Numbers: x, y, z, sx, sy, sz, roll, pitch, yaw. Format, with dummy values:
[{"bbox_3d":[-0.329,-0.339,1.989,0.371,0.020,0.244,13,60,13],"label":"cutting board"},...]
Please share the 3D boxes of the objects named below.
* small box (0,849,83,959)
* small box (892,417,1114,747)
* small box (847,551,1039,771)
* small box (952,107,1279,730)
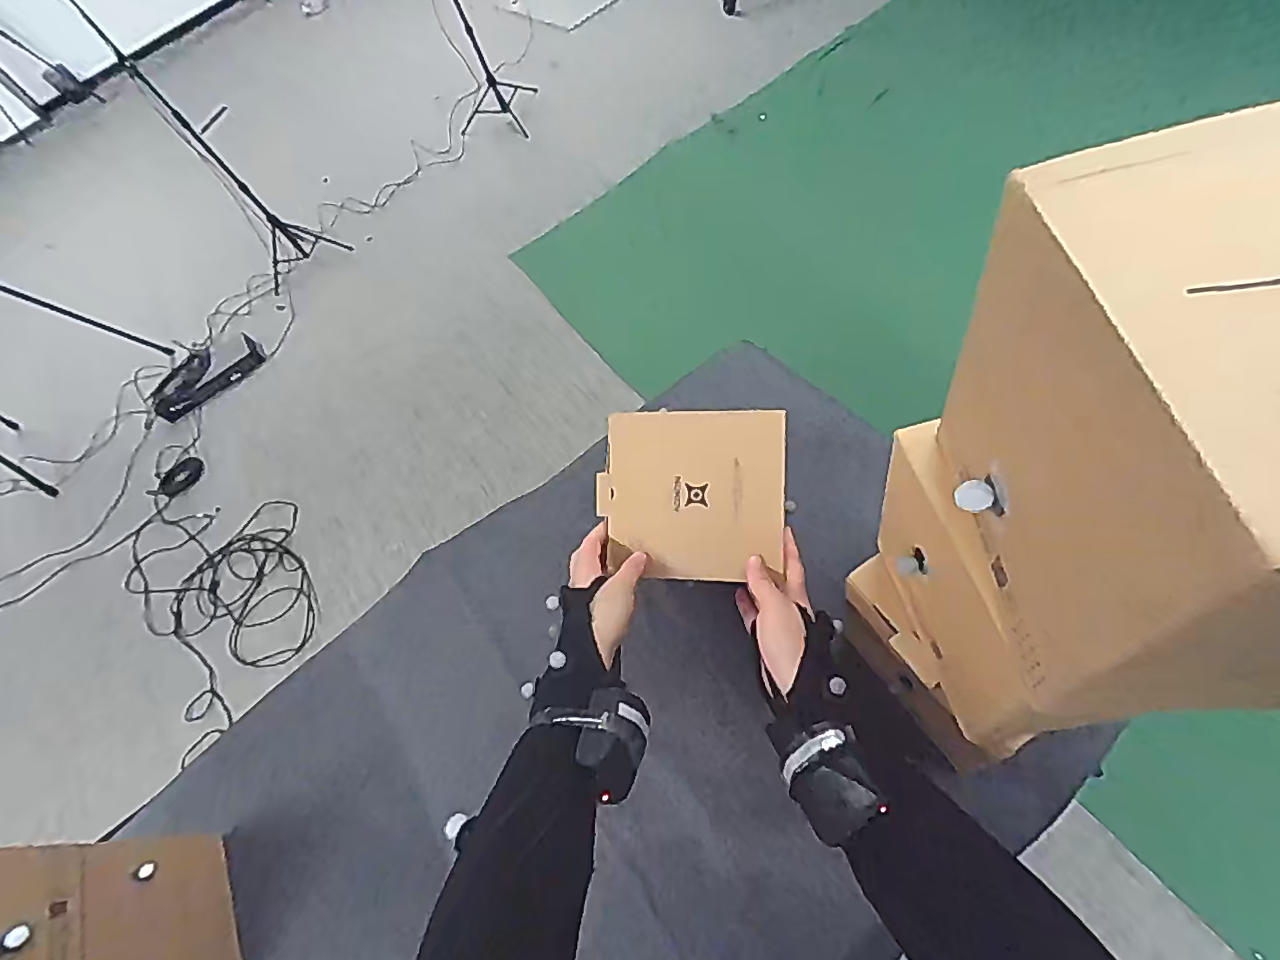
[{"bbox_3d":[-0.586,0.416,0.404,0.179,0.176,0.168,-37,58,-7],"label":"small box"},{"bbox_3d":[0.277,0.059,0.344,0.179,0.176,0.168,-15,55,9],"label":"small box"},{"bbox_3d":[0.312,0.135,0.485,0.179,0.176,0.168,-34,54,-3],"label":"small box"},{"bbox_3d":[0.242,-0.010,0.196,0.179,0.176,0.168,-7,56,15],"label":"small box"}]
